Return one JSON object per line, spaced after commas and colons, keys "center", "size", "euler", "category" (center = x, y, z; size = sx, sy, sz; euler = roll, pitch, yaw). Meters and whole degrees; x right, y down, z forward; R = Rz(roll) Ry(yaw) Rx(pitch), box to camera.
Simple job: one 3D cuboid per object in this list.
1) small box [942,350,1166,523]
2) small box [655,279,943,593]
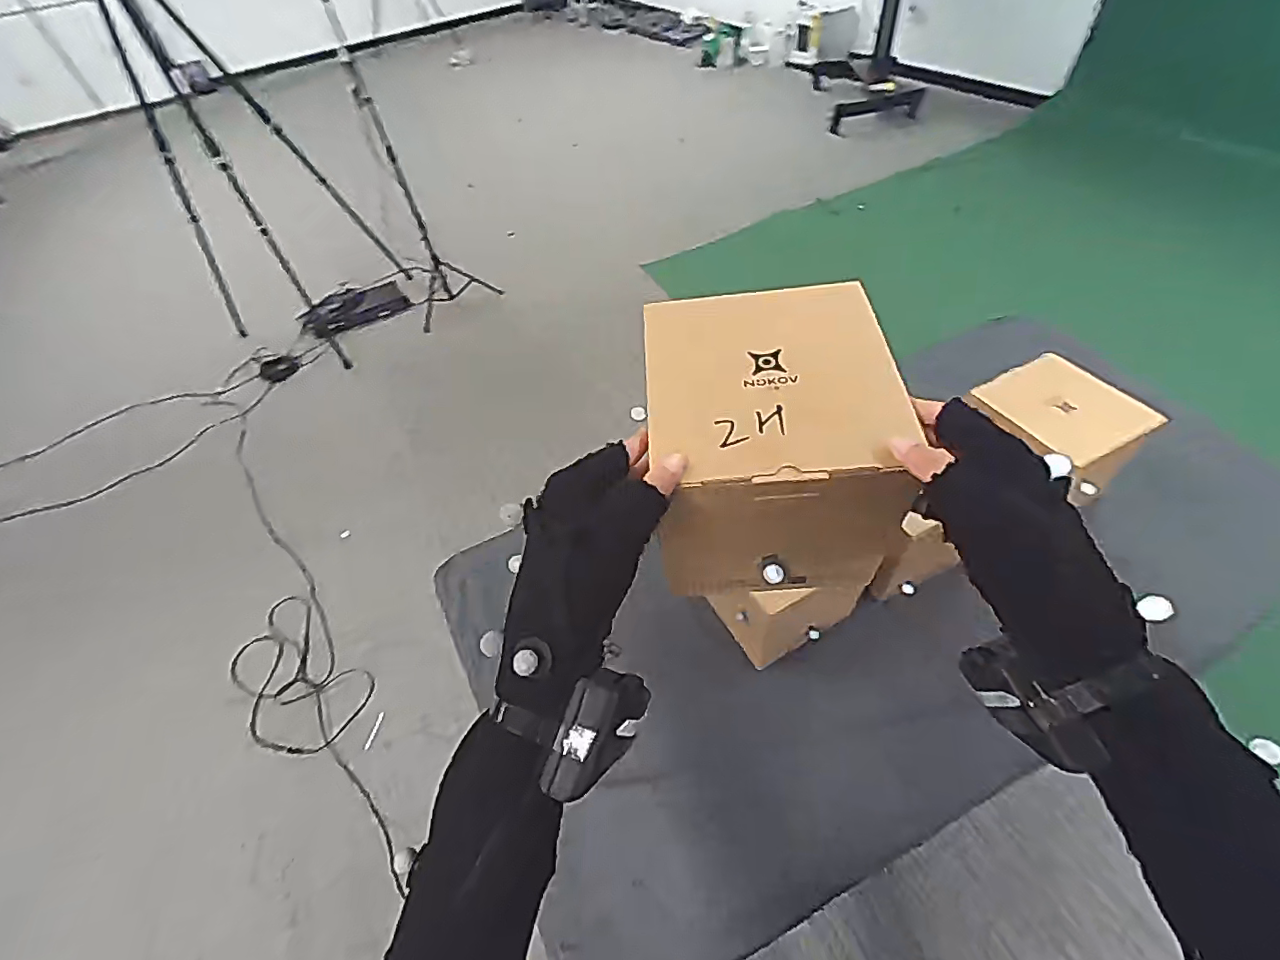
{"center": [0.600, -0.058, 0.812], "size": [0.168, 0.176, 0.179], "euler": [-25, 51, -12], "category": "small box"}
{"center": [0.100, -0.027, 0.426], "size": [0.168, 0.176, 0.179], "euler": [-5, 56, 6], "category": "small box"}
